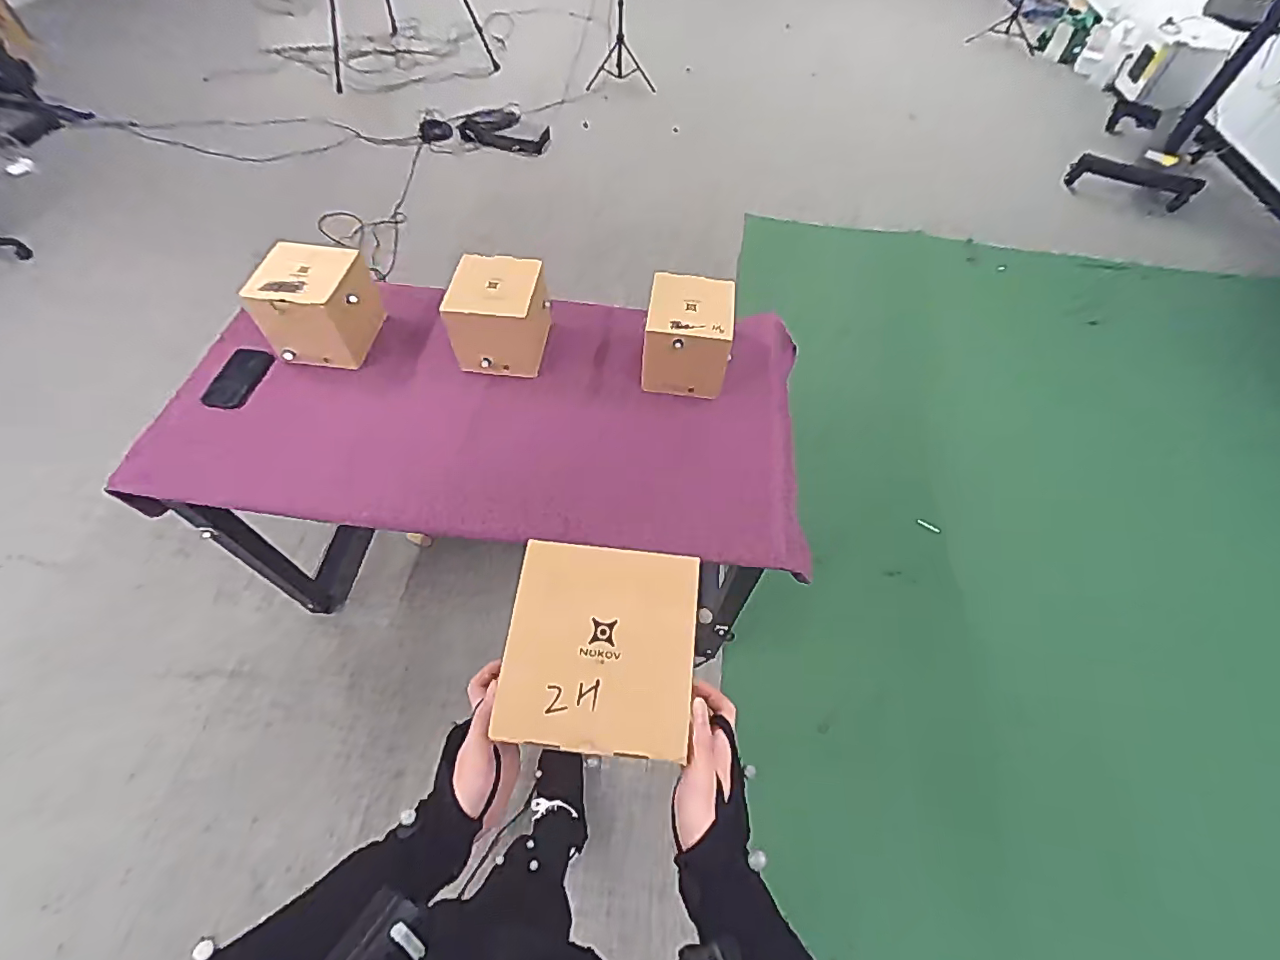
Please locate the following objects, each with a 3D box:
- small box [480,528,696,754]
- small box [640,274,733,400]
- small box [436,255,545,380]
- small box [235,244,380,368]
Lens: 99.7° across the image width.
[{"bbox_3d":[-0.039,0.166,0.539,0.168,0.176,0.179,6,64,4],"label":"small box"},{"bbox_3d":[0.091,-0.291,1.107,0.168,0.176,0.179,7,56,2],"label":"small box"},{"bbox_3d":[-0.295,-0.333,1.115,0.168,0.176,0.179,5,57,1],"label":"small box"},{"bbox_3d":[-0.661,-0.350,1.104,0.168,0.176,0.179,6,56,0],"label":"small box"}]
